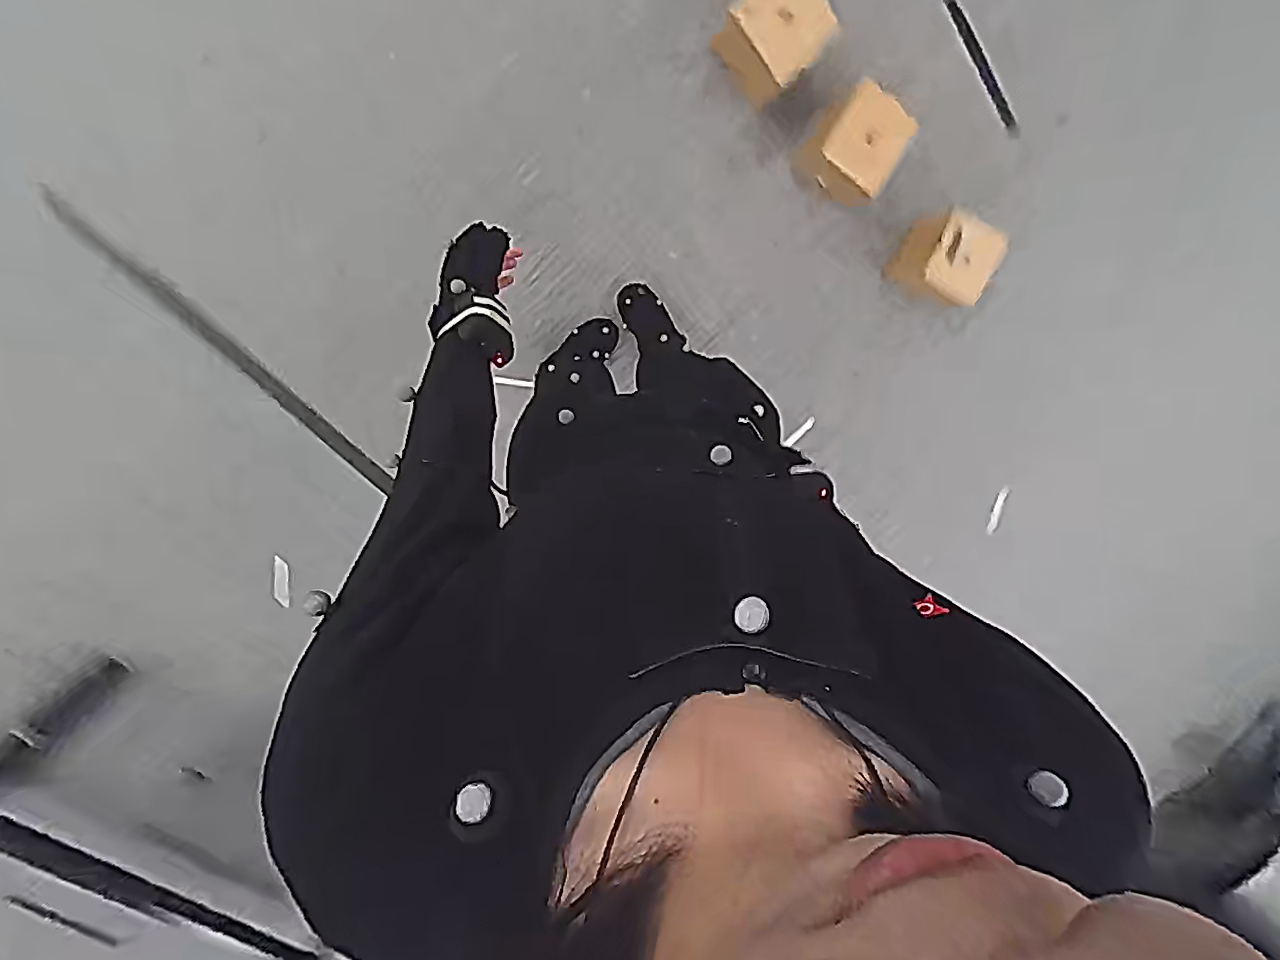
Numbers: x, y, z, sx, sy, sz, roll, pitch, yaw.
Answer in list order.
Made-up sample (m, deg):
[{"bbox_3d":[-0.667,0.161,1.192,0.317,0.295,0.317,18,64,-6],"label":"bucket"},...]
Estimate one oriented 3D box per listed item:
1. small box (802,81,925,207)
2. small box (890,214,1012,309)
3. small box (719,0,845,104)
[{"bbox_3d":[0.514,-0.778,1.274,0.168,0.176,0.179,28,103,-16],"label":"small box"},{"bbox_3d":[0.790,-0.555,1.392,0.179,0.176,0.168,21,105,-16],"label":"small box"},{"bbox_3d":[0.302,-0.963,1.178,0.168,0.176,0.179,-41,110,7],"label":"small box"}]
